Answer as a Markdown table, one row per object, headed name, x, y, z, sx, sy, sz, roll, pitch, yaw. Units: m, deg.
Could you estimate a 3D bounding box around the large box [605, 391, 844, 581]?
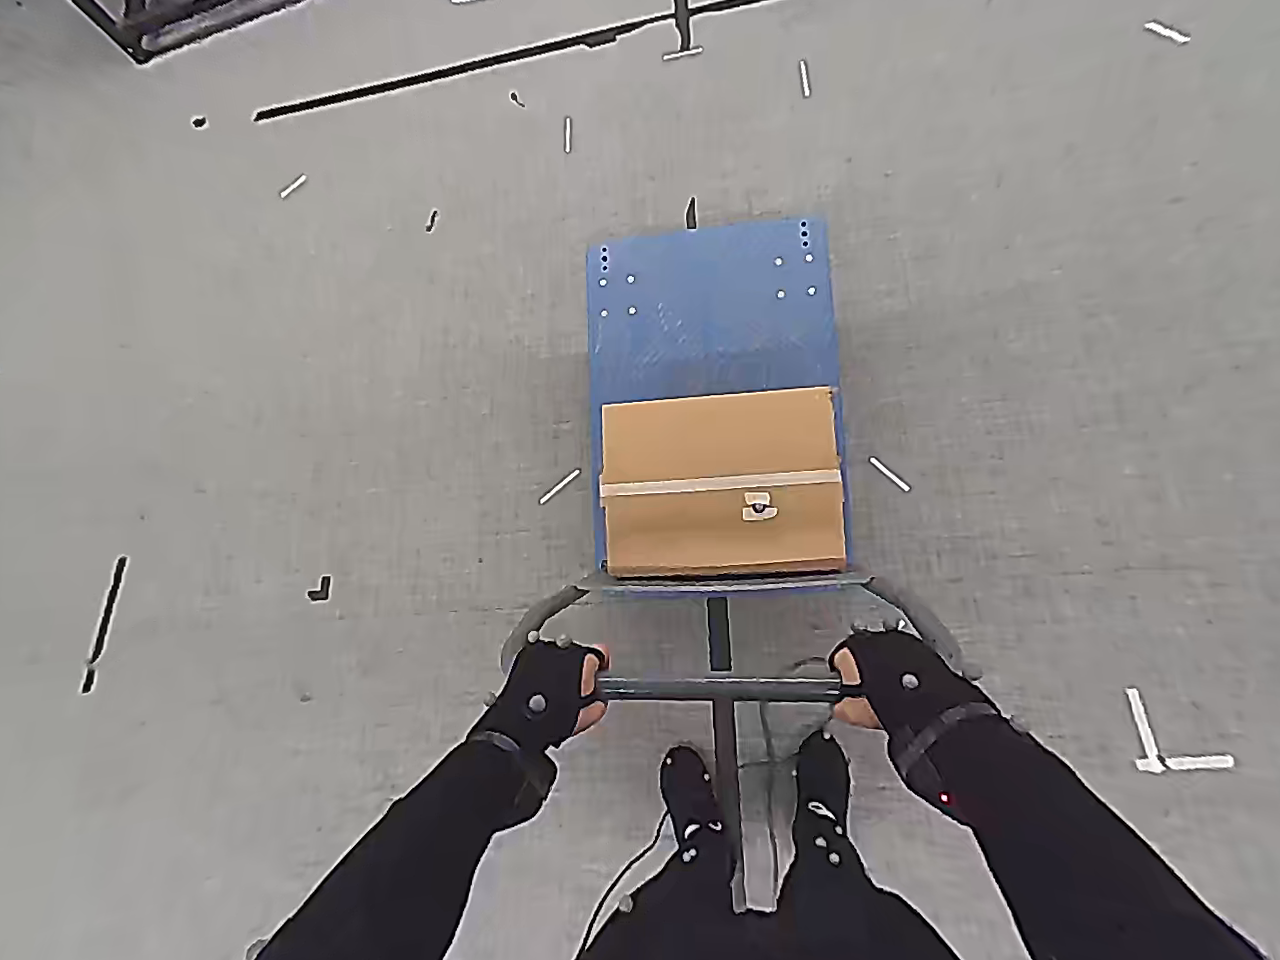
| name | x | y | z | sx | sy | sz | roll | pitch | yaw |
| --- | --- | --- | --- | --- | --- | --- | --- | --- | --- |
| large box | 0.160 | 0.030 | 1.102 | 0.408 | 0.320 | 0.320 | -4 | 83 | 8 |
